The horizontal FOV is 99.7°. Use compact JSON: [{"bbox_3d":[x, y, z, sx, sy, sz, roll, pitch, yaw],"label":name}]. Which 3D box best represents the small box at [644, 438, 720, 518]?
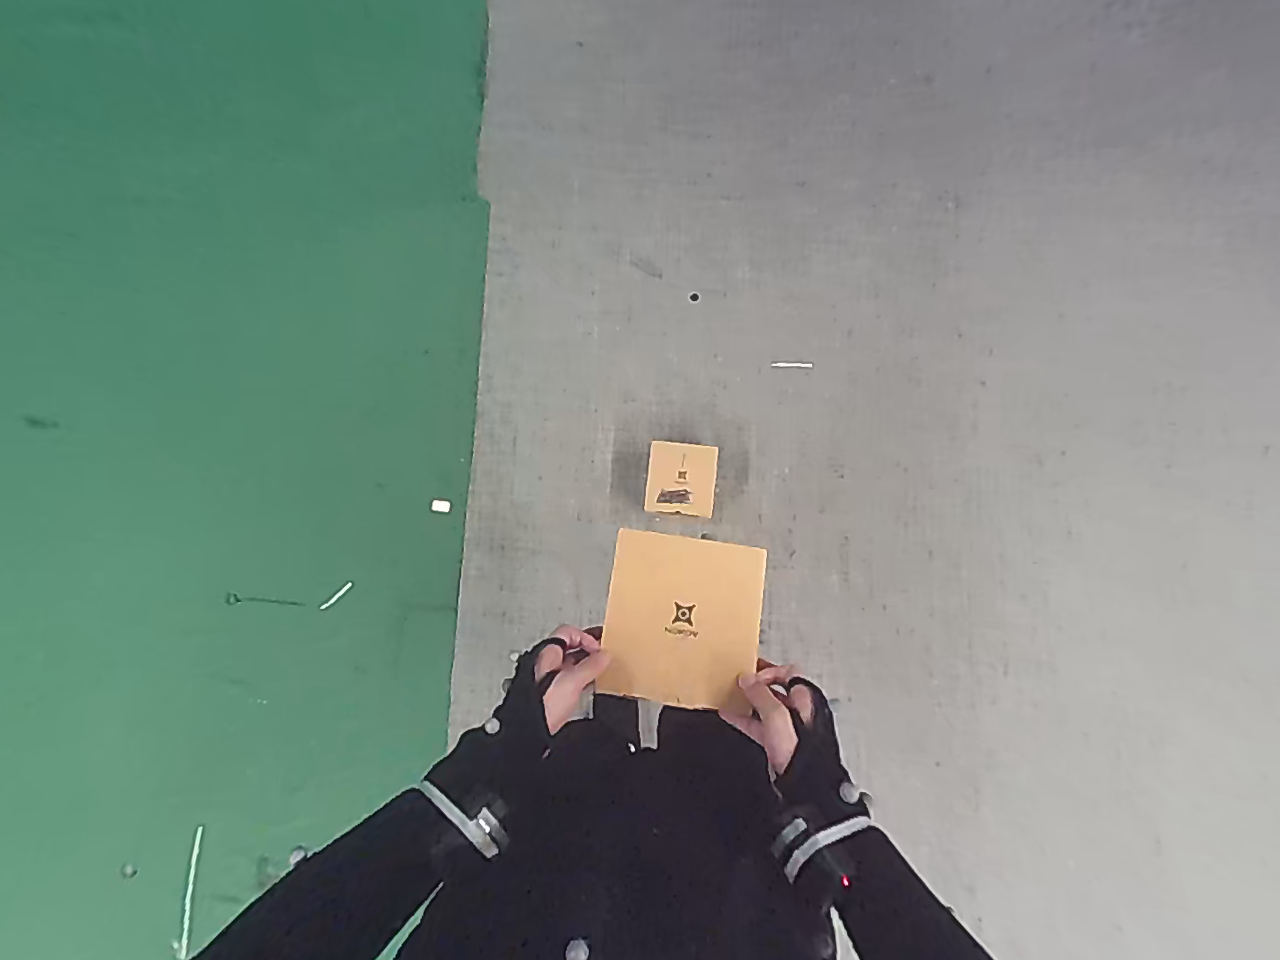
[{"bbox_3d":[0.106,0.001,1.379,0.168,0.176,0.179,7,83,4],"label":"small box"}]
